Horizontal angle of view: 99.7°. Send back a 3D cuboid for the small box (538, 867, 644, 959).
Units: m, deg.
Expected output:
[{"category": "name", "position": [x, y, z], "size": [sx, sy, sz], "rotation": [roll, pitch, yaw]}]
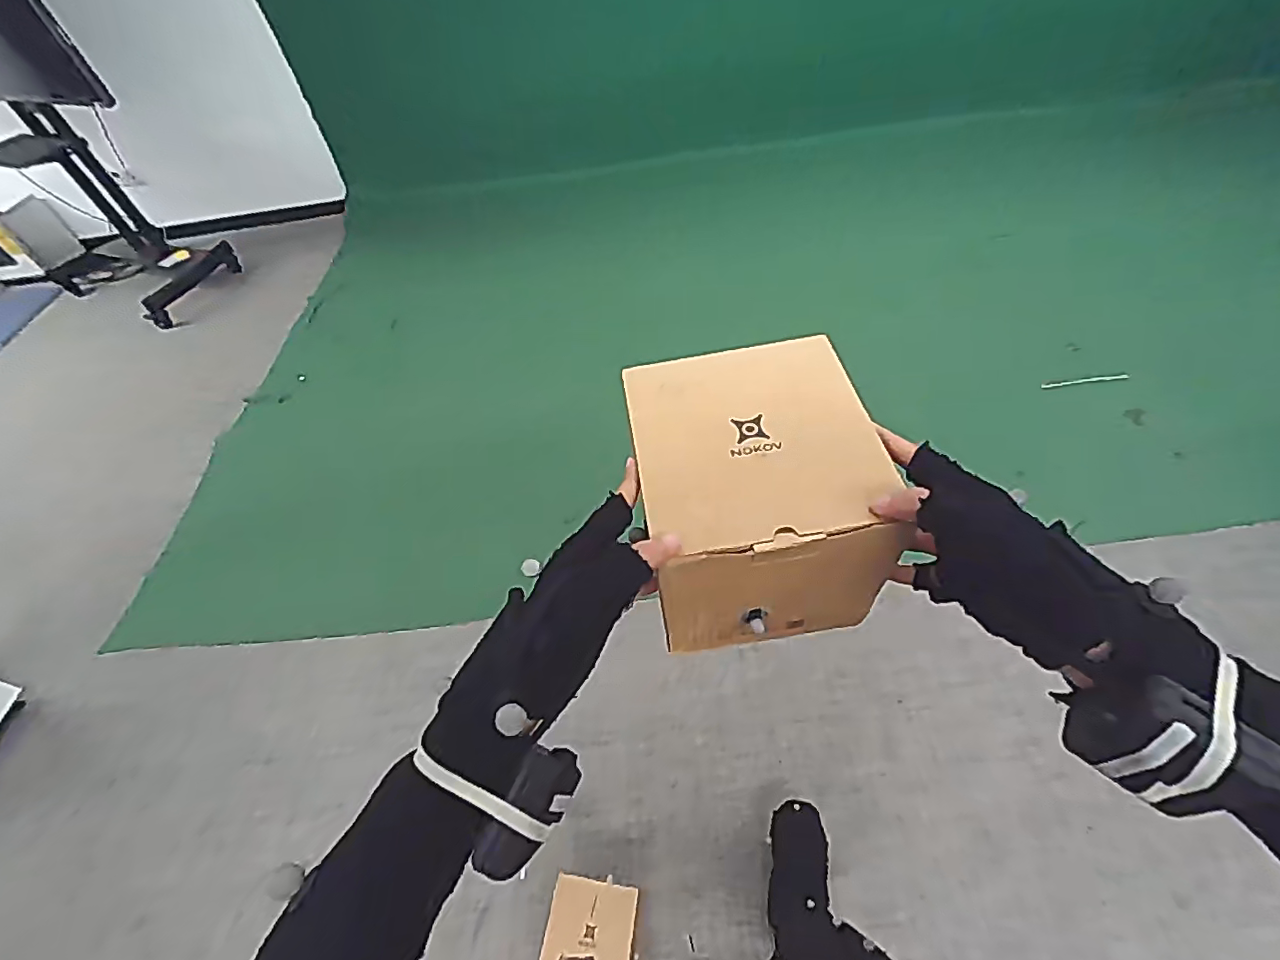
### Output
[{"category": "small box", "position": [-0.089, 0.895, 1.069], "size": [0.168, 0.176, 0.179], "rotation": [4, 50, 10]}]
